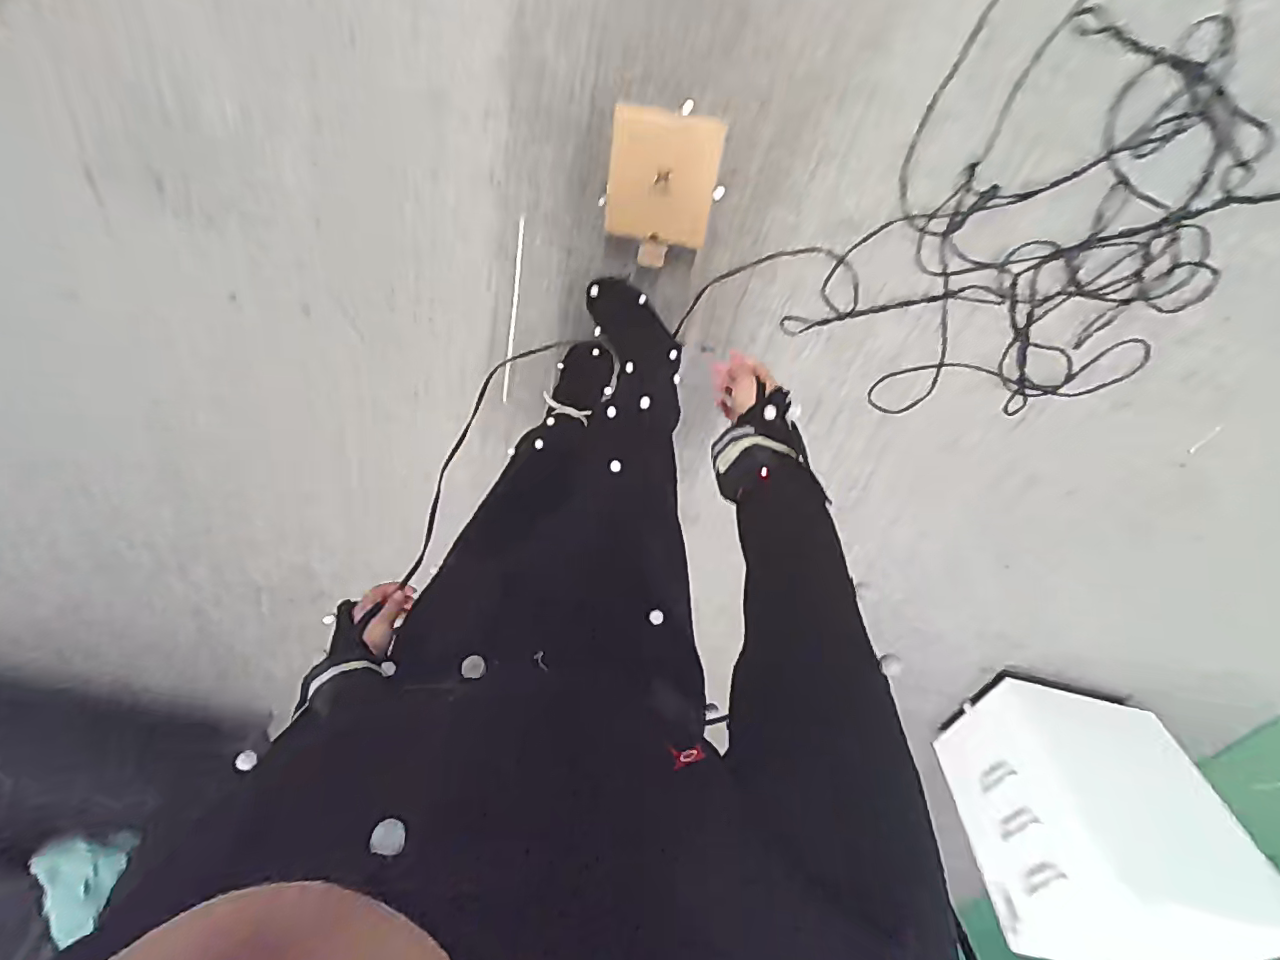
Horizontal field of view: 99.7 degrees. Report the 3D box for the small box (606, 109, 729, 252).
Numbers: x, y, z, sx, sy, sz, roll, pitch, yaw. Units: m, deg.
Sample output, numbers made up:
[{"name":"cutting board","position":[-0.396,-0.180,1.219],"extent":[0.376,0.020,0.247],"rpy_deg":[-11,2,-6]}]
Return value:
[{"name":"small box","position":[0.040,-0.499,0.894],"extent":[0.168,0.176,0.179],"rpy_deg":[8,126,-2]}]
